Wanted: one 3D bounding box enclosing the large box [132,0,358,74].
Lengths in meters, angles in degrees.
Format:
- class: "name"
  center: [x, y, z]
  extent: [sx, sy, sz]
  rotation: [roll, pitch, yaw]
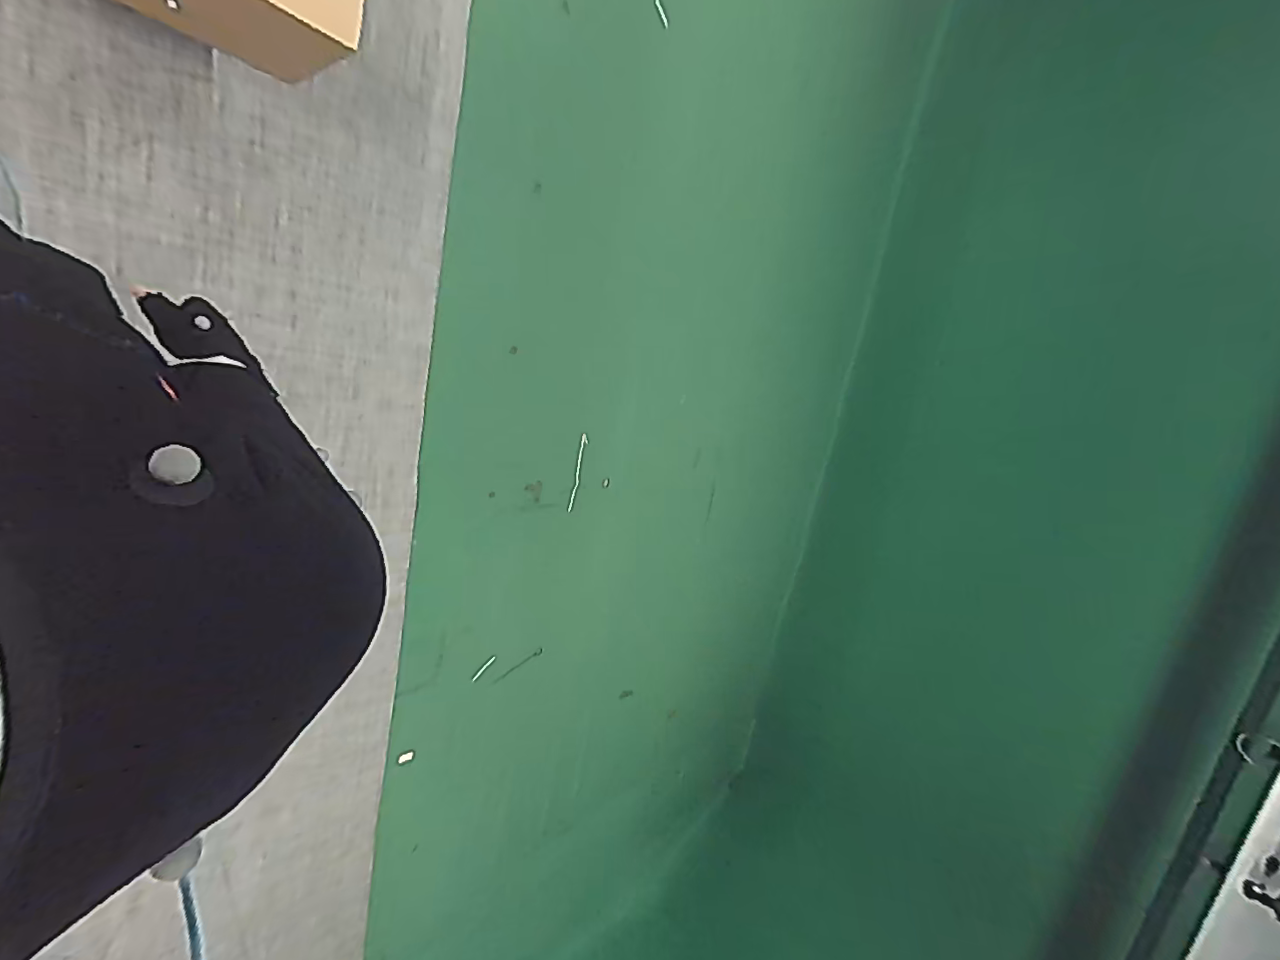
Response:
- class: "large box"
  center: [-0.662, -0.875, 0.775]
  extent: [0.408, 0.320, 0.320]
  rotation: [-1, 106, -50]
